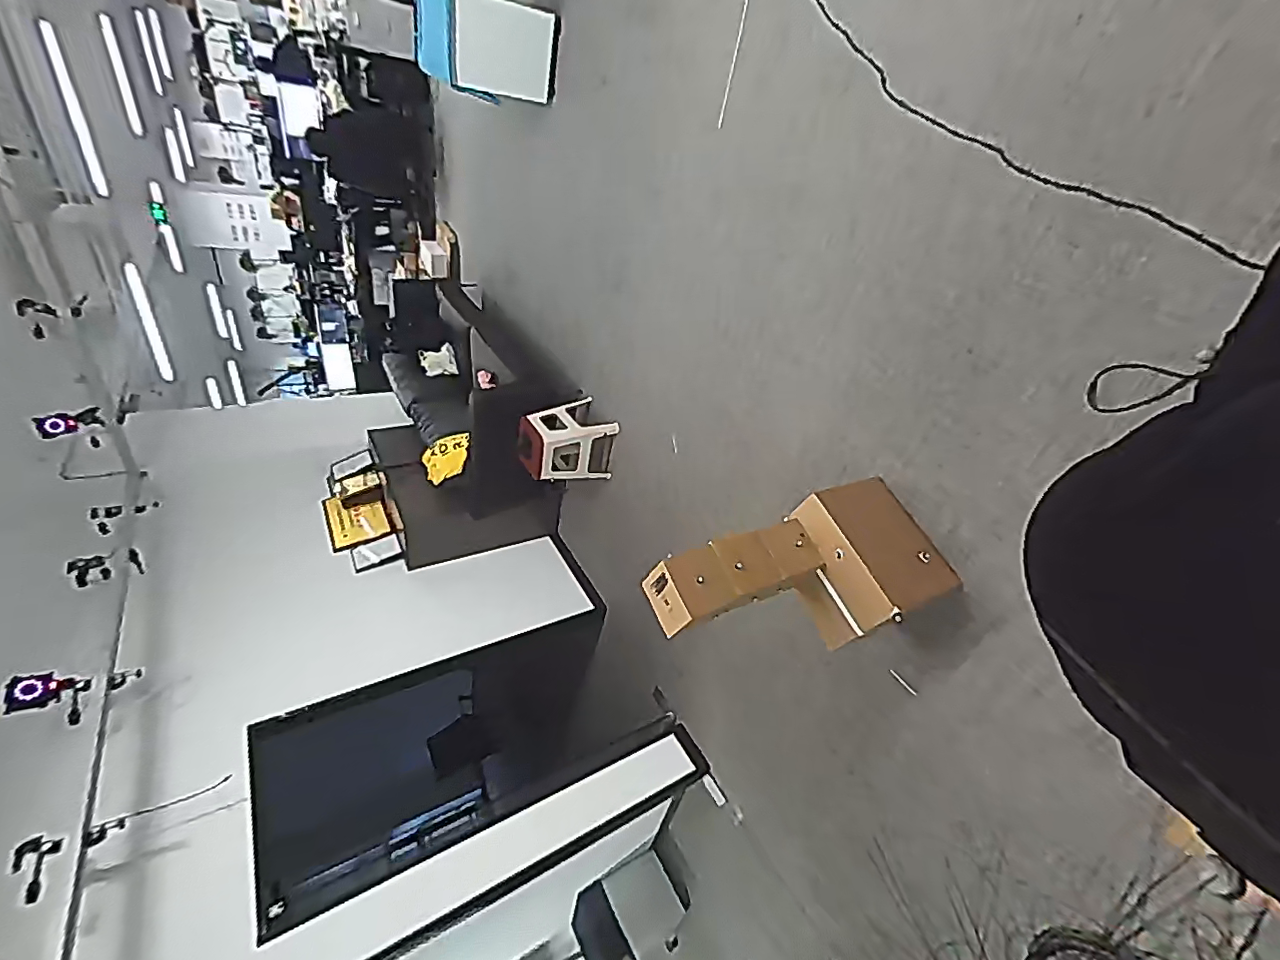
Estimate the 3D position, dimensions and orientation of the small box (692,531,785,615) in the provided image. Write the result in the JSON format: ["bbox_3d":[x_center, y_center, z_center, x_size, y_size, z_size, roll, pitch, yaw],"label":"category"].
[{"bbox_3d":[0.286,0.264,1.577,0.179,0.176,0.168,63,147,23],"label":"small box"}]

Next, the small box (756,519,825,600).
[{"bbox_3d":[0.427,0.241,1.654,0.168,0.176,0.179,62,147,25],"label":"small box"}]

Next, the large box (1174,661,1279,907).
[{"bbox_3d":[1.246,0.579,0.893,0.408,0.320,0.320,33,128,48],"label":"large box"}]
